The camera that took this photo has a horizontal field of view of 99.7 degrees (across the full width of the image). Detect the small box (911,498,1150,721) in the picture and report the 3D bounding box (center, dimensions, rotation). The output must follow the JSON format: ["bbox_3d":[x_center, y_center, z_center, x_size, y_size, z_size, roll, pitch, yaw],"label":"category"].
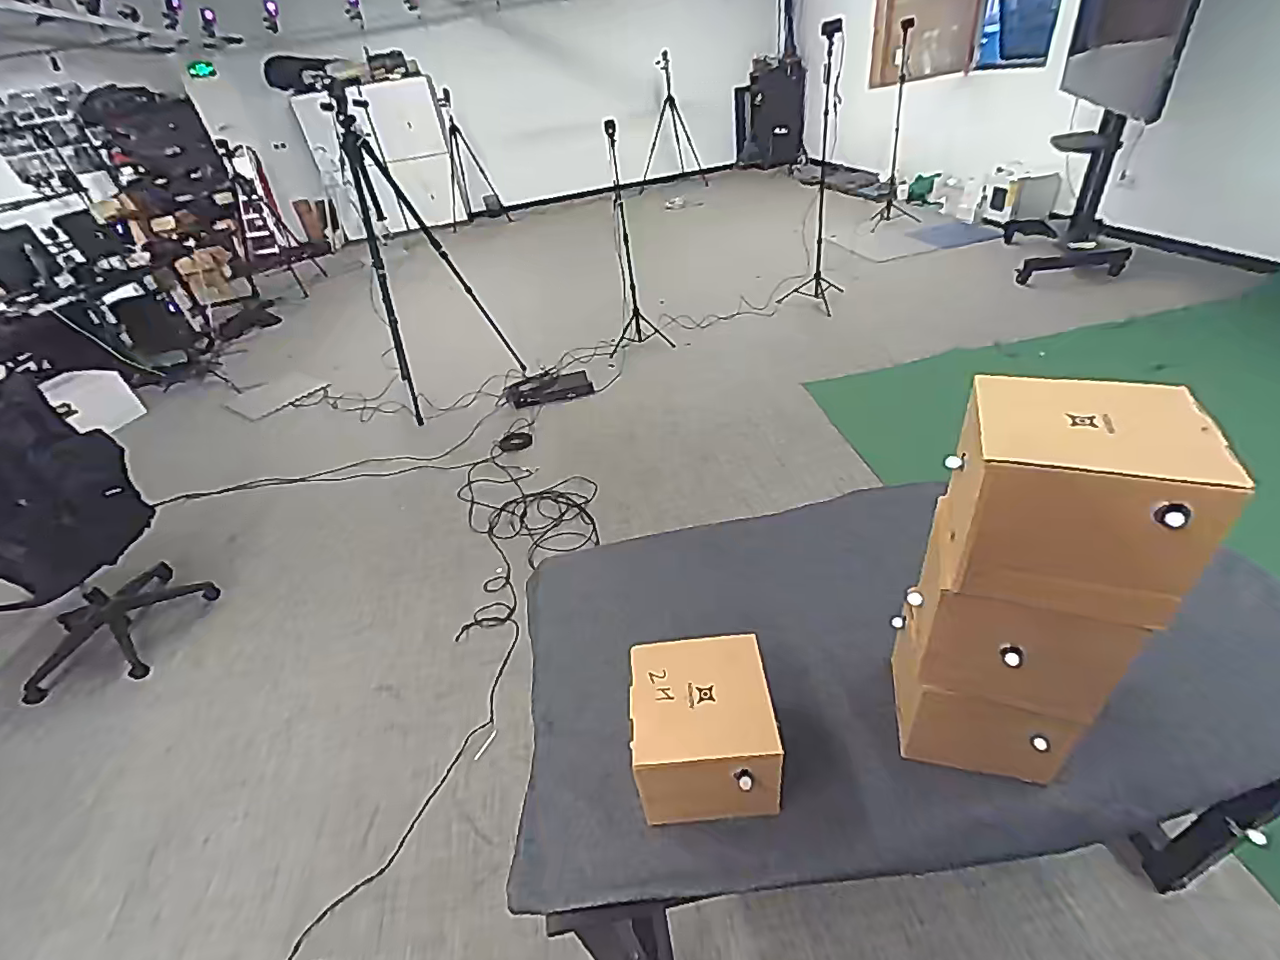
[{"bbox_3d":[0.426,0.146,0.624,0.179,0.176,0.168,8,39,24],"label":"small box"}]

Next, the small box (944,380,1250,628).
[{"bbox_3d":[0.407,0.018,0.527,0.179,0.176,0.168,9,39,23],"label":"small box"}]

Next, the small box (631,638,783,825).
[{"bbox_3d":[0.085,0.338,0.726,0.179,0.176,0.168,-7,37,4],"label":"small box"}]
